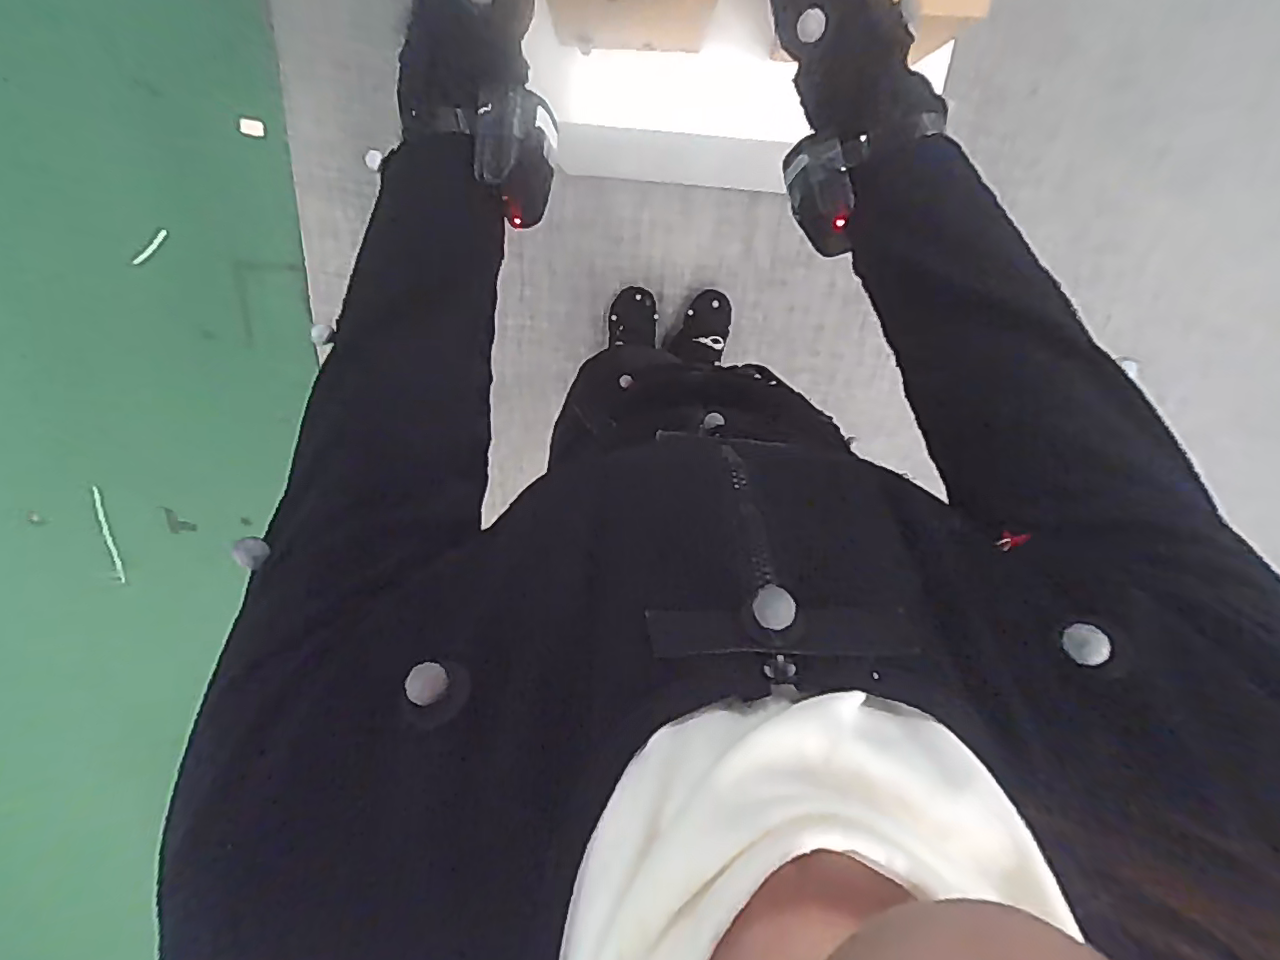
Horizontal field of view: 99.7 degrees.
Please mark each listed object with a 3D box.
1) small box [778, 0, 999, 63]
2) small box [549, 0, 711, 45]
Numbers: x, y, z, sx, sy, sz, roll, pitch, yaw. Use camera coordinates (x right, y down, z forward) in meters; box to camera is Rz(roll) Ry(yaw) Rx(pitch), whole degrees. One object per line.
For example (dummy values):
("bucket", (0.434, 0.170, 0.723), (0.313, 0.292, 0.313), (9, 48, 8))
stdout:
("small box", (0.239, -0.533, 0.517), (0.168, 0.176, 0.179), (2, 115, 0))
("small box", (-0.007, -0.552, 0.521), (0.168, 0.176, 0.179), (1, 112, -2))
